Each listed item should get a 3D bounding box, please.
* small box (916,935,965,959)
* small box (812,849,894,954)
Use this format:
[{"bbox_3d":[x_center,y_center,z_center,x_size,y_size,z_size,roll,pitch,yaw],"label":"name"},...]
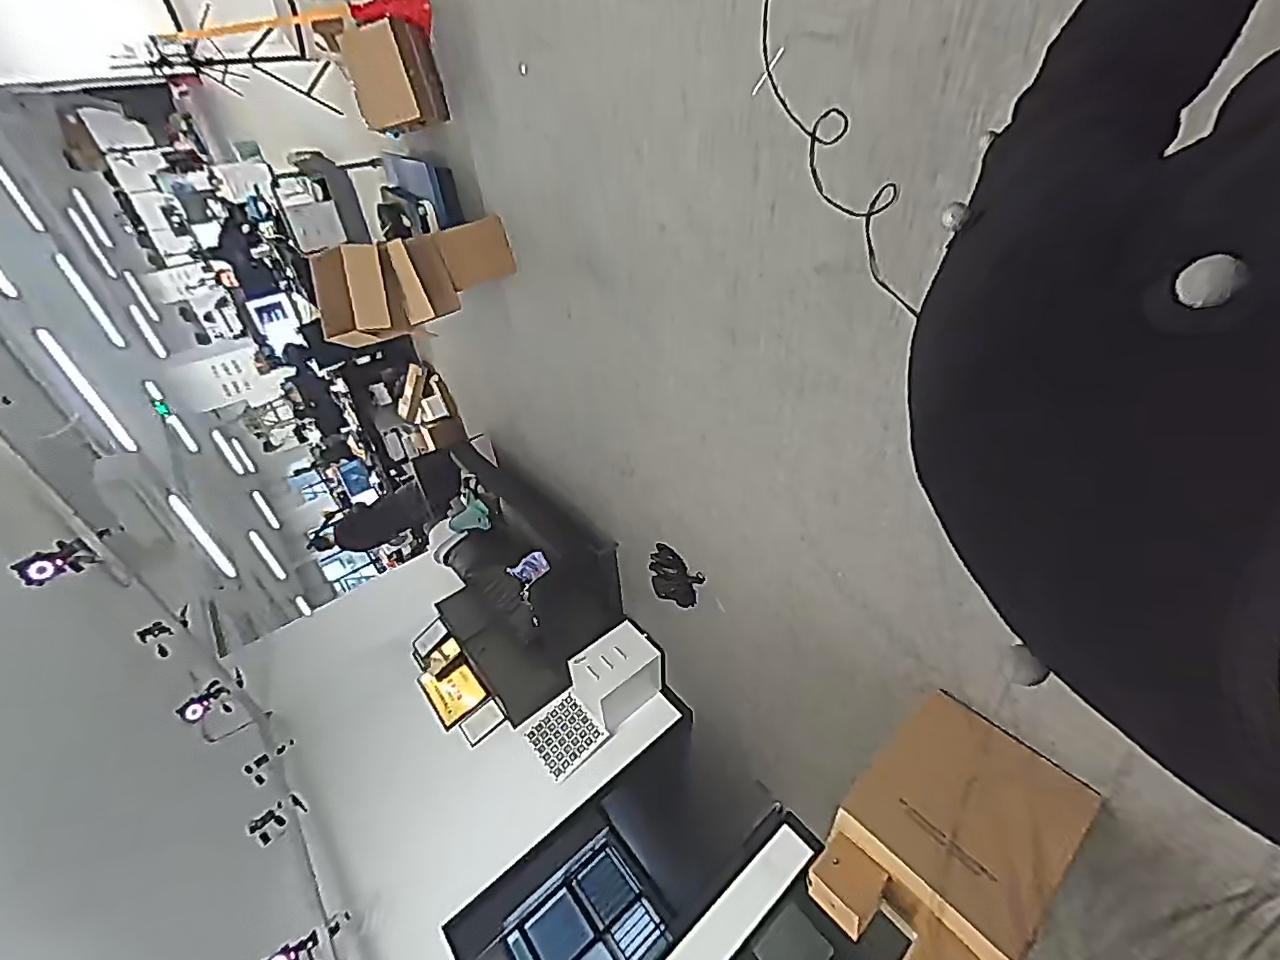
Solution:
[{"bbox_3d":[0.849,1.426,1.493,0.179,0.176,0.168,36,140,39],"label":"small box"},{"bbox_3d":[0.665,1.308,1.697,0.179,0.176,0.168,25,134,46],"label":"small box"}]
